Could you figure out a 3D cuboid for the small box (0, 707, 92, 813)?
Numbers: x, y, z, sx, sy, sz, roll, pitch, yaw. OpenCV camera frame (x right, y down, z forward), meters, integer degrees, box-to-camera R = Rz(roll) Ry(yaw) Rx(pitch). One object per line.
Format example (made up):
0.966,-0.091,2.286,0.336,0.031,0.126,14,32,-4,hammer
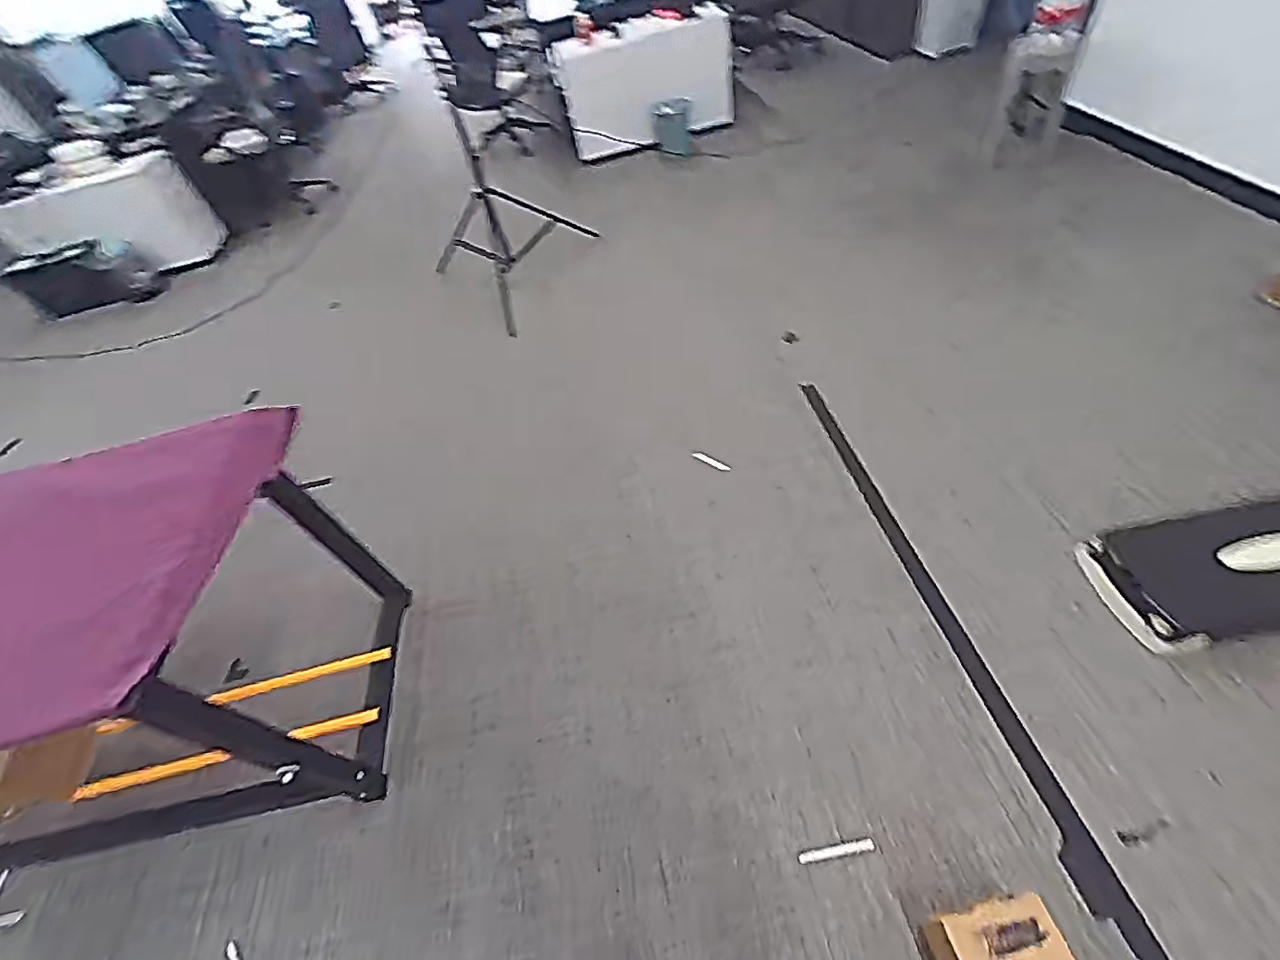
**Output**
-1.507,0.682,1.312,0.168,0.176,0.179,-16,51,0,small box
